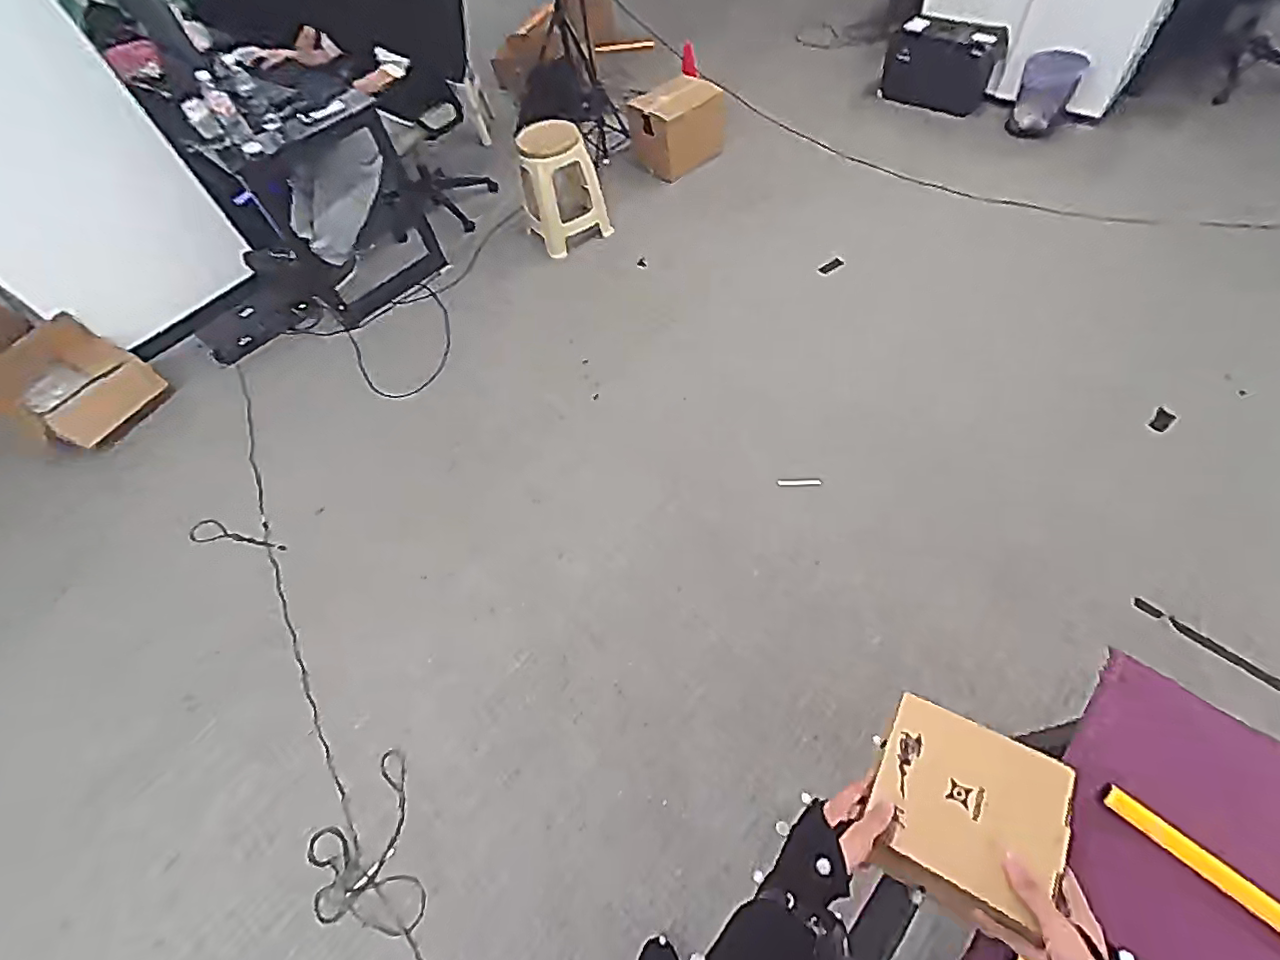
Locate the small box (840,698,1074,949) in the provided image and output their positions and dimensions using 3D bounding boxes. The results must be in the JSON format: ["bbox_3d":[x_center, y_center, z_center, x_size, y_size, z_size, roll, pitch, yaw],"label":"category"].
[{"bbox_3d":[0.355,0.392,0.631,0.179,0.176,0.168,22,59,26],"label":"small box"}]
